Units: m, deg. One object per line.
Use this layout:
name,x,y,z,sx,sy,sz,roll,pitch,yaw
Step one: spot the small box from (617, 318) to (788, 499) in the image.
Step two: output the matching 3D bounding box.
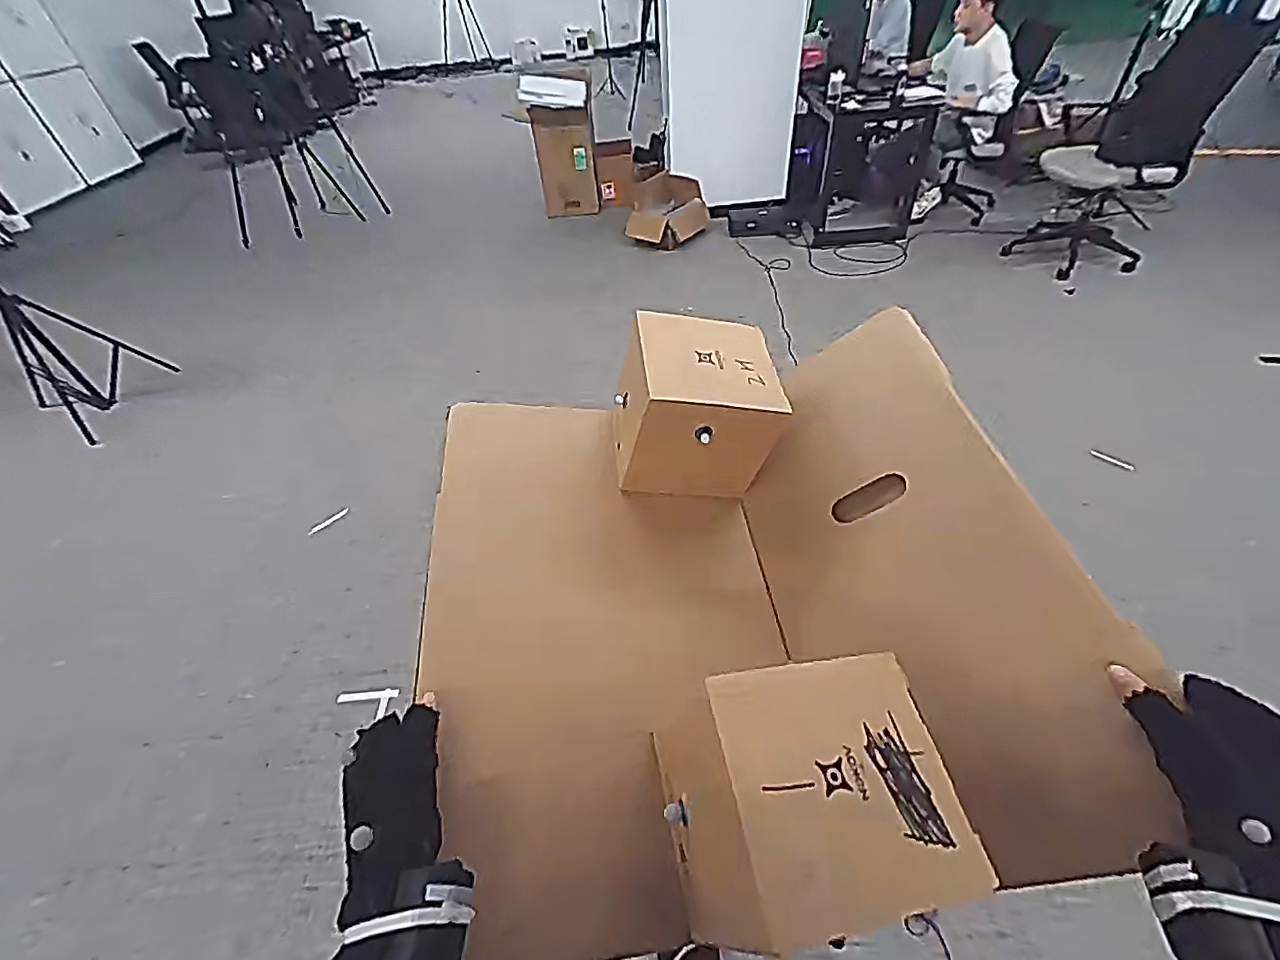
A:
small box,0.067,-0.089,0.724,0.179,0.176,0.168,5,51,-13
